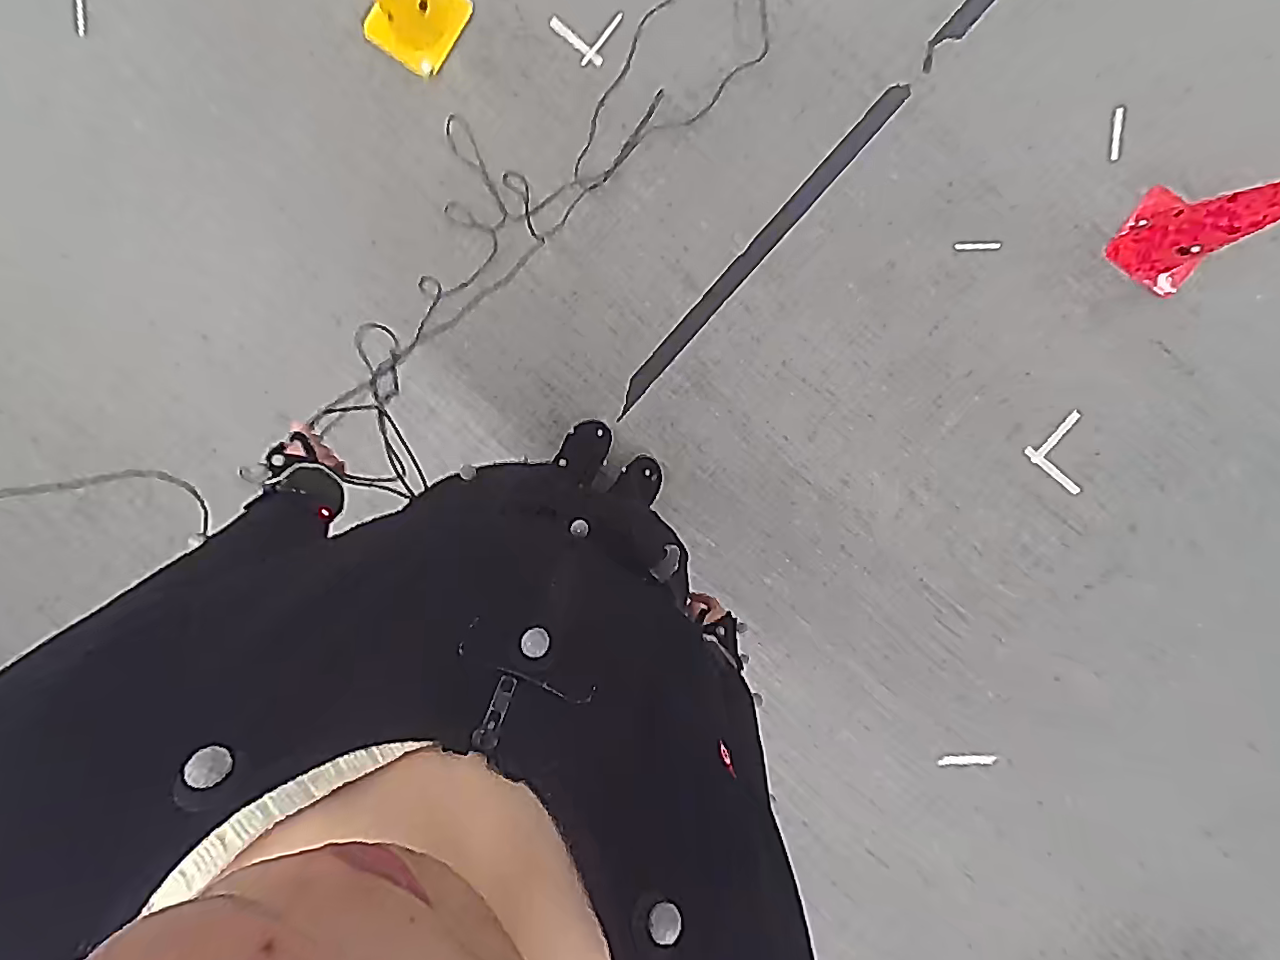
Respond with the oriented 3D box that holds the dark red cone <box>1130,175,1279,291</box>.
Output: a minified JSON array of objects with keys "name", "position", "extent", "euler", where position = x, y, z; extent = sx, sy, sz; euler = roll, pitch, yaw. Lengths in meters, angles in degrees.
[{"name":"dark red cone","position":[1.238,-0.539,1.066],"extent":[0.201,0.394,0.202],"euler":[34,96,-1]}]
